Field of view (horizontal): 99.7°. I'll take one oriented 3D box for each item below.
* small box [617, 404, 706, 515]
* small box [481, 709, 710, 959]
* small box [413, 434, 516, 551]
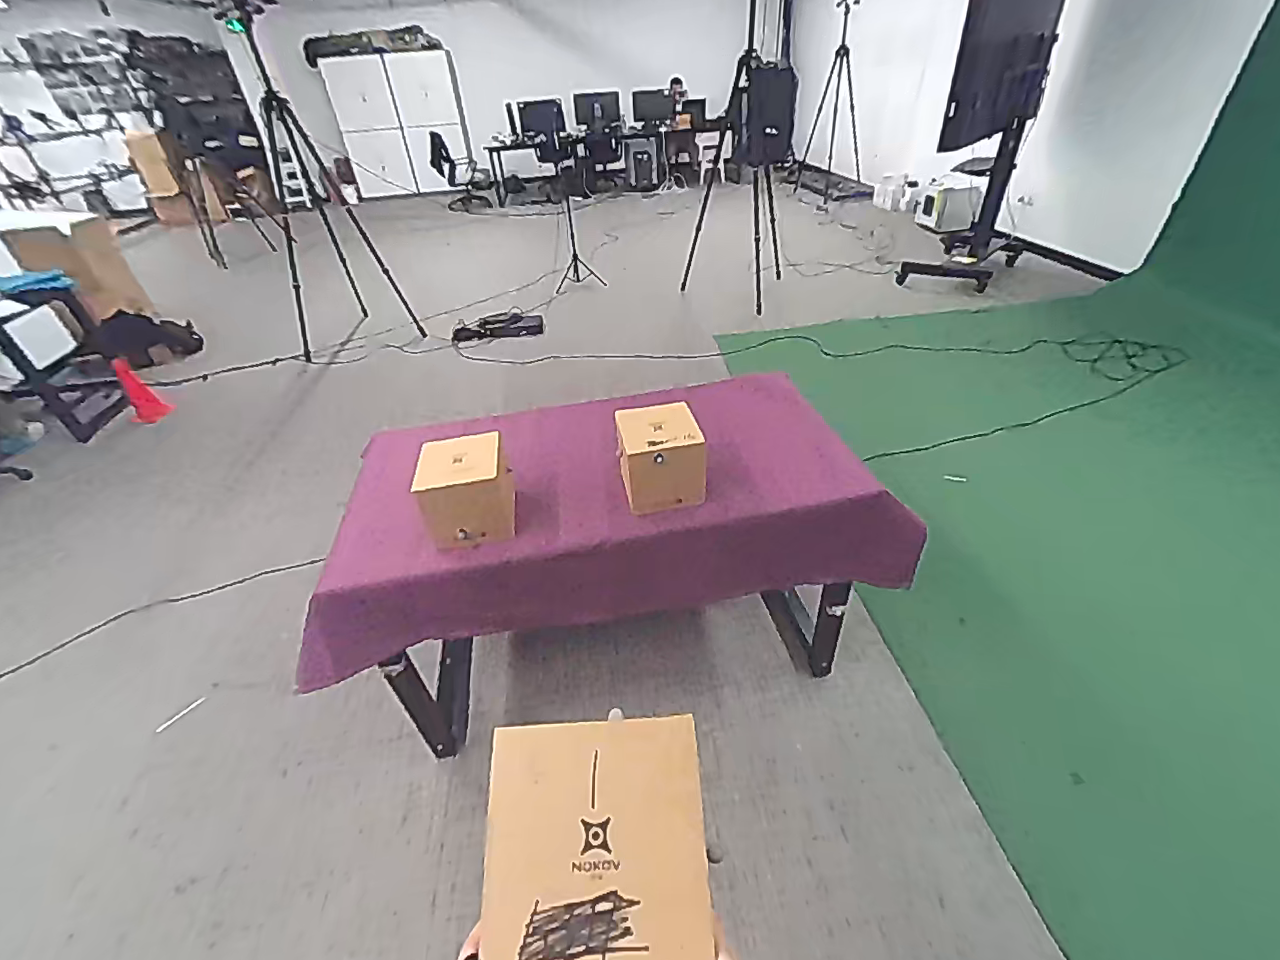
[{"bbox_3d":[0.046,-0.046,1.205,0.168,0.176,0.179,-10,37,-5],"label":"small box"},{"bbox_3d":[-0.028,0.305,0.478,0.168,0.176,0.179,-5,62,2],"label":"small box"},{"bbox_3d":[-0.366,0.025,1.160,0.168,0.176,0.179,-9,38,-5],"label":"small box"}]
